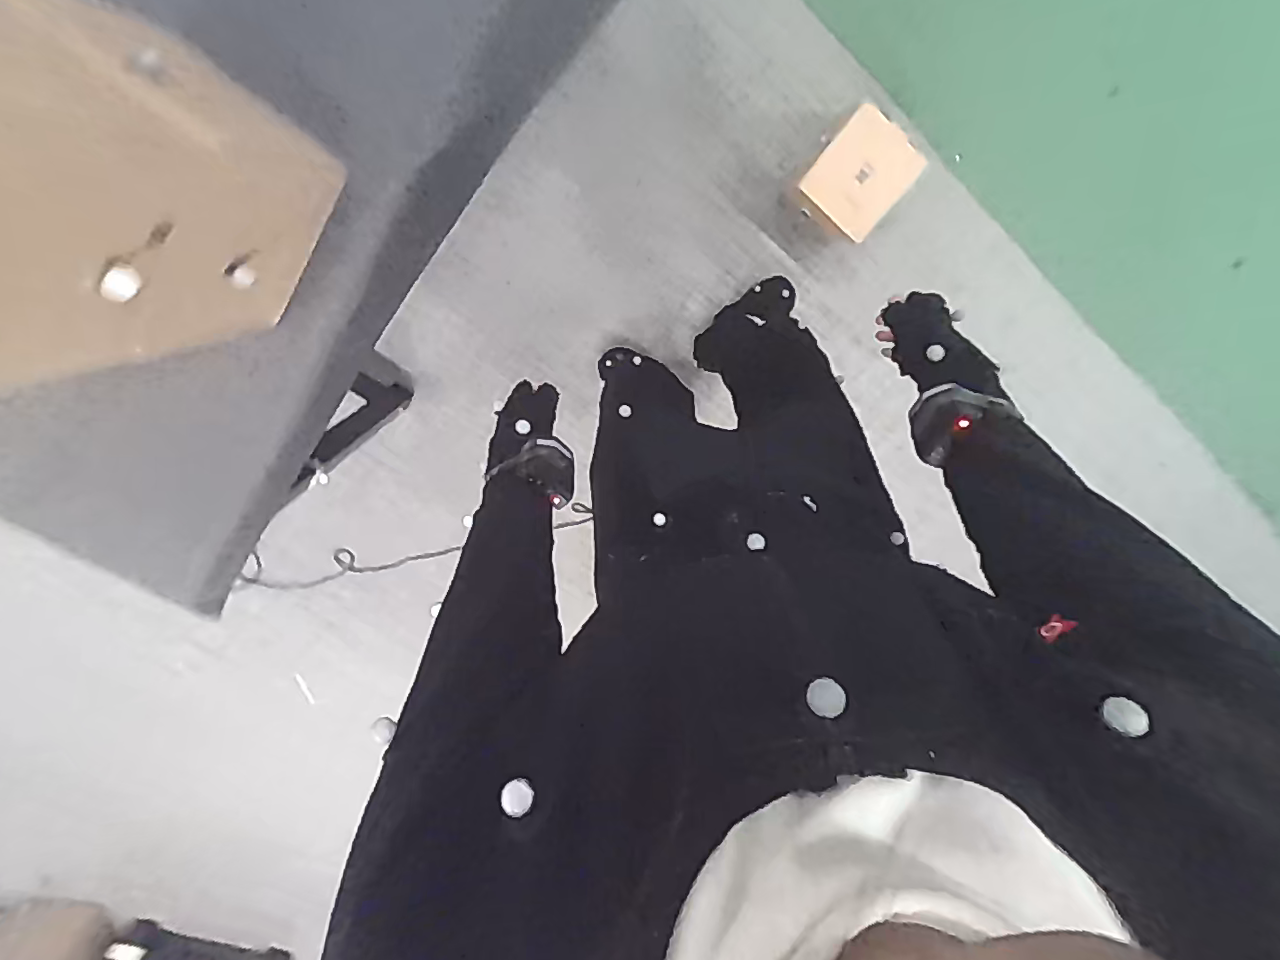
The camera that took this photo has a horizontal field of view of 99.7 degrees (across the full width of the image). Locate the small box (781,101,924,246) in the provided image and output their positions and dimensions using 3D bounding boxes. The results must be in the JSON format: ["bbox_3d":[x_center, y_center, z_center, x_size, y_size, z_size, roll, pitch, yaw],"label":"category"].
[{"bbox_3d":[0.402,-0.590,1.060,0.168,0.176,0.179,36,112,-15],"label":"small box"}]
